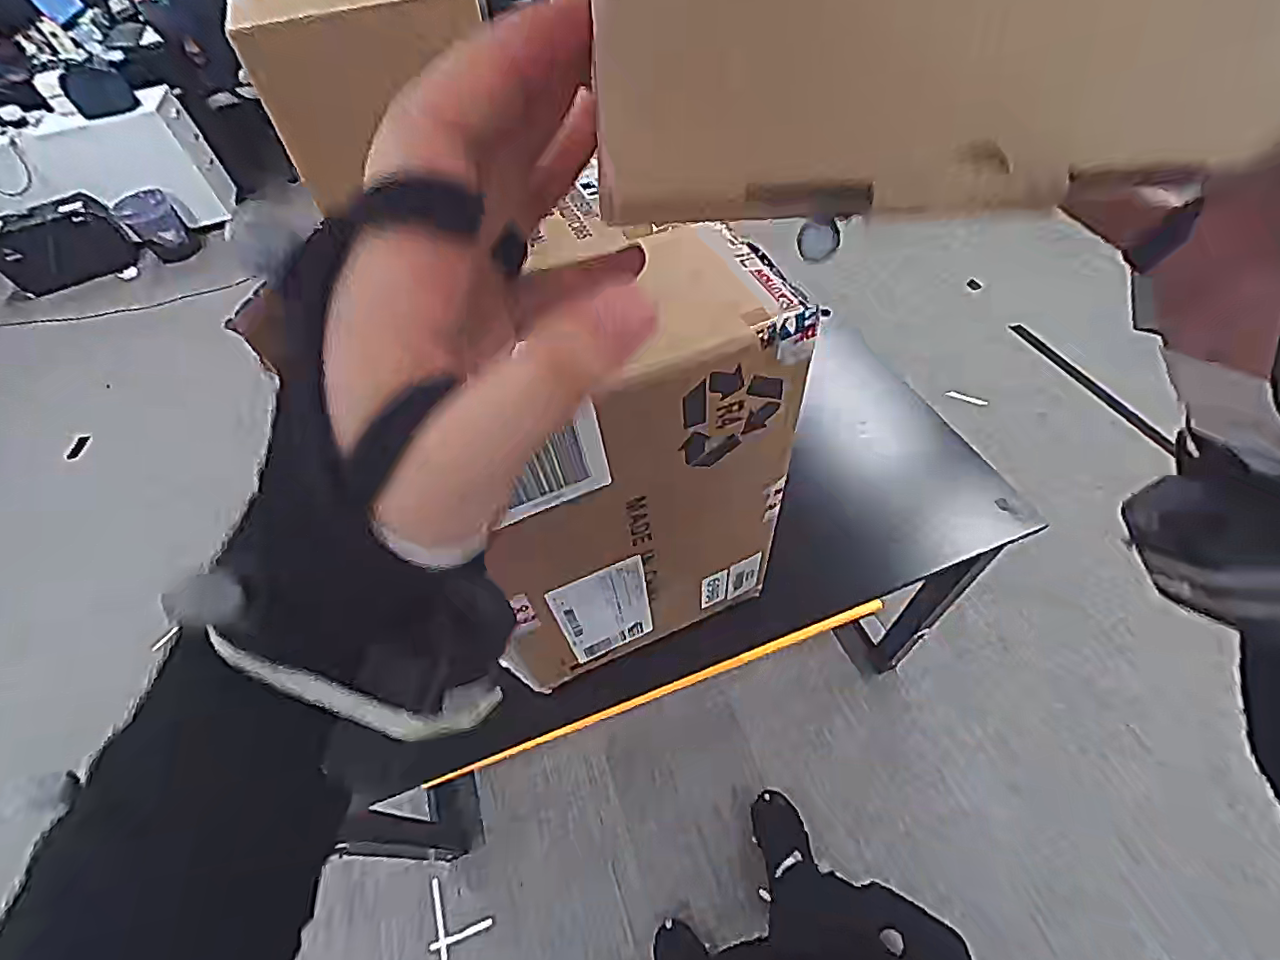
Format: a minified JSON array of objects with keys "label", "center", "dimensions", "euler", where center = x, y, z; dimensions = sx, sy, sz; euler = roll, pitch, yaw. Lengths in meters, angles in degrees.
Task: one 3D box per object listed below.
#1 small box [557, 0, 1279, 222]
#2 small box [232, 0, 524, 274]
[{"label":"small box","center":[0.060,-0.180,0.170],"dimensions":[0.168,0.179,0.176],"euler":[-3,23,-1]},{"label":"small box","center":[-0.220,-0.313,0.480],"dimensions":[0.168,0.176,0.179],"euler":[-24,53,-13]}]
